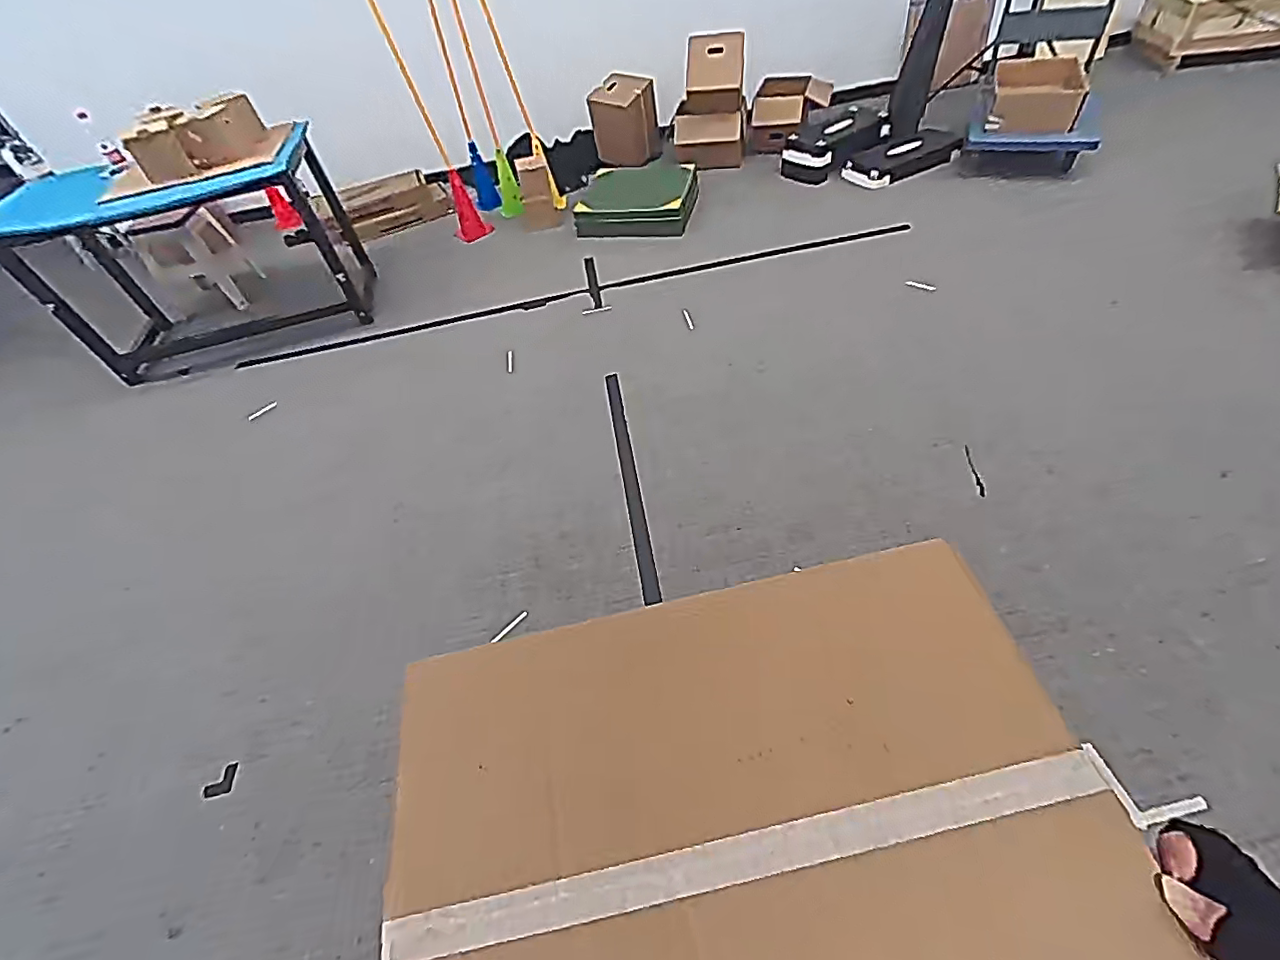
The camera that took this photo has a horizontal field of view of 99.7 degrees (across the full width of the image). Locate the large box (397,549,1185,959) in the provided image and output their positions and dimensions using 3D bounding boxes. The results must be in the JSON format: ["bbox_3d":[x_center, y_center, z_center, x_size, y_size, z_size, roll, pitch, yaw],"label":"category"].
[{"bbox_3d":[0.076,0.301,0.428,0.408,0.320,0.320,-14,52,-1],"label":"large box"}]
